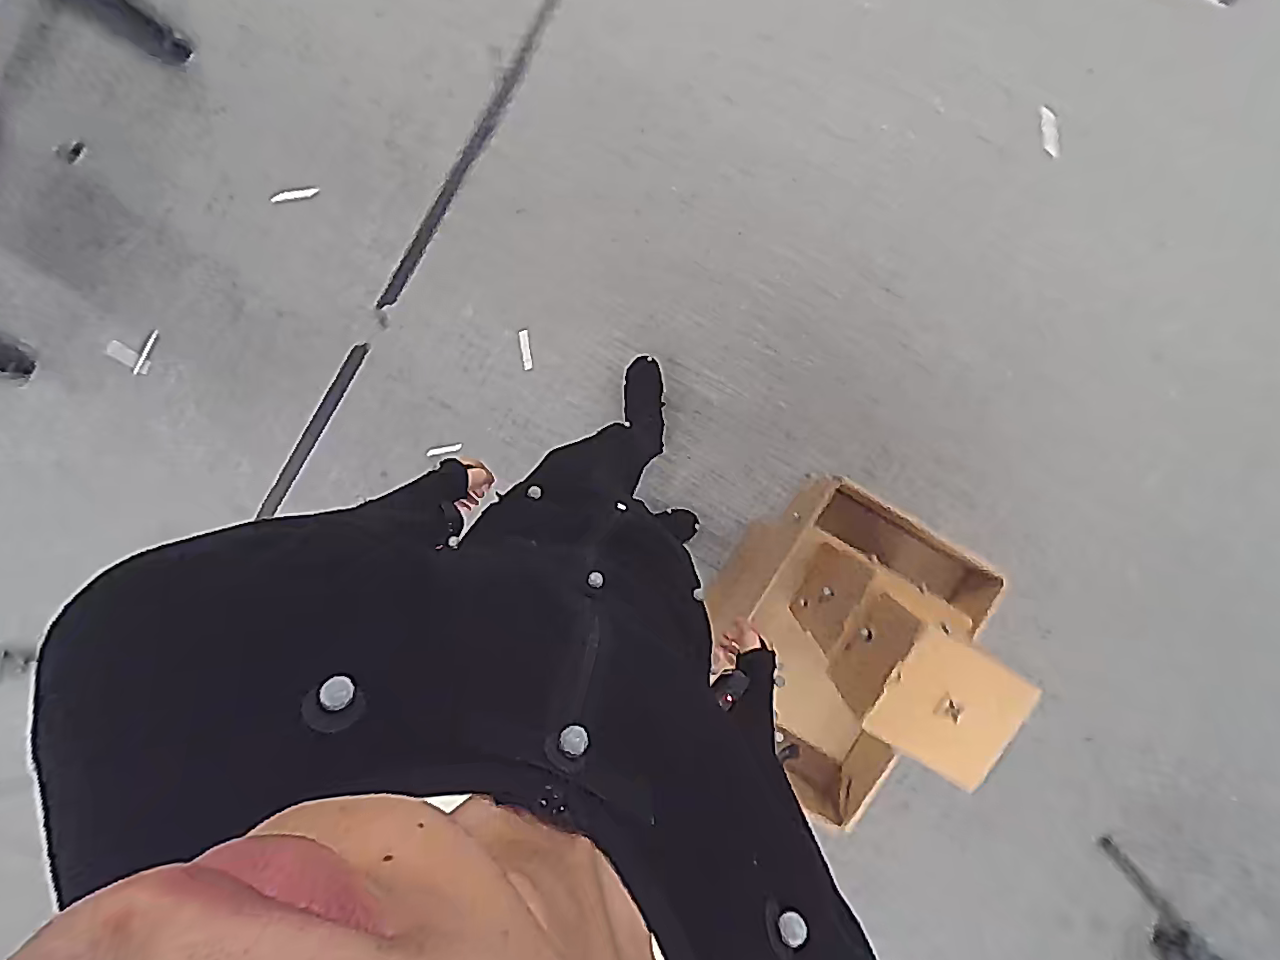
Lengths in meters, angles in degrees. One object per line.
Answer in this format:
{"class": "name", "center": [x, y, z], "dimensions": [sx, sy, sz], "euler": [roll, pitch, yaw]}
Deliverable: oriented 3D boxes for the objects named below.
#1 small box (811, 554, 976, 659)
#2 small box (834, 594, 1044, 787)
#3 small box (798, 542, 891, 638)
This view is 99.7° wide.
{"class": "small box", "center": [0.431, 0.249, 0.952], "dimensions": [0.179, 0.176, 0.168], "euler": [27, 96, 2]}
{"class": "small box", "center": [0.419, 0.292, 0.793], "dimensions": [0.179, 0.176, 0.168], "euler": [30, 96, 1]}
{"class": "small box", "center": [0.443, 0.248, 1.116], "dimensions": [0.168, 0.176, 0.179], "euler": [25, 95, 1]}
